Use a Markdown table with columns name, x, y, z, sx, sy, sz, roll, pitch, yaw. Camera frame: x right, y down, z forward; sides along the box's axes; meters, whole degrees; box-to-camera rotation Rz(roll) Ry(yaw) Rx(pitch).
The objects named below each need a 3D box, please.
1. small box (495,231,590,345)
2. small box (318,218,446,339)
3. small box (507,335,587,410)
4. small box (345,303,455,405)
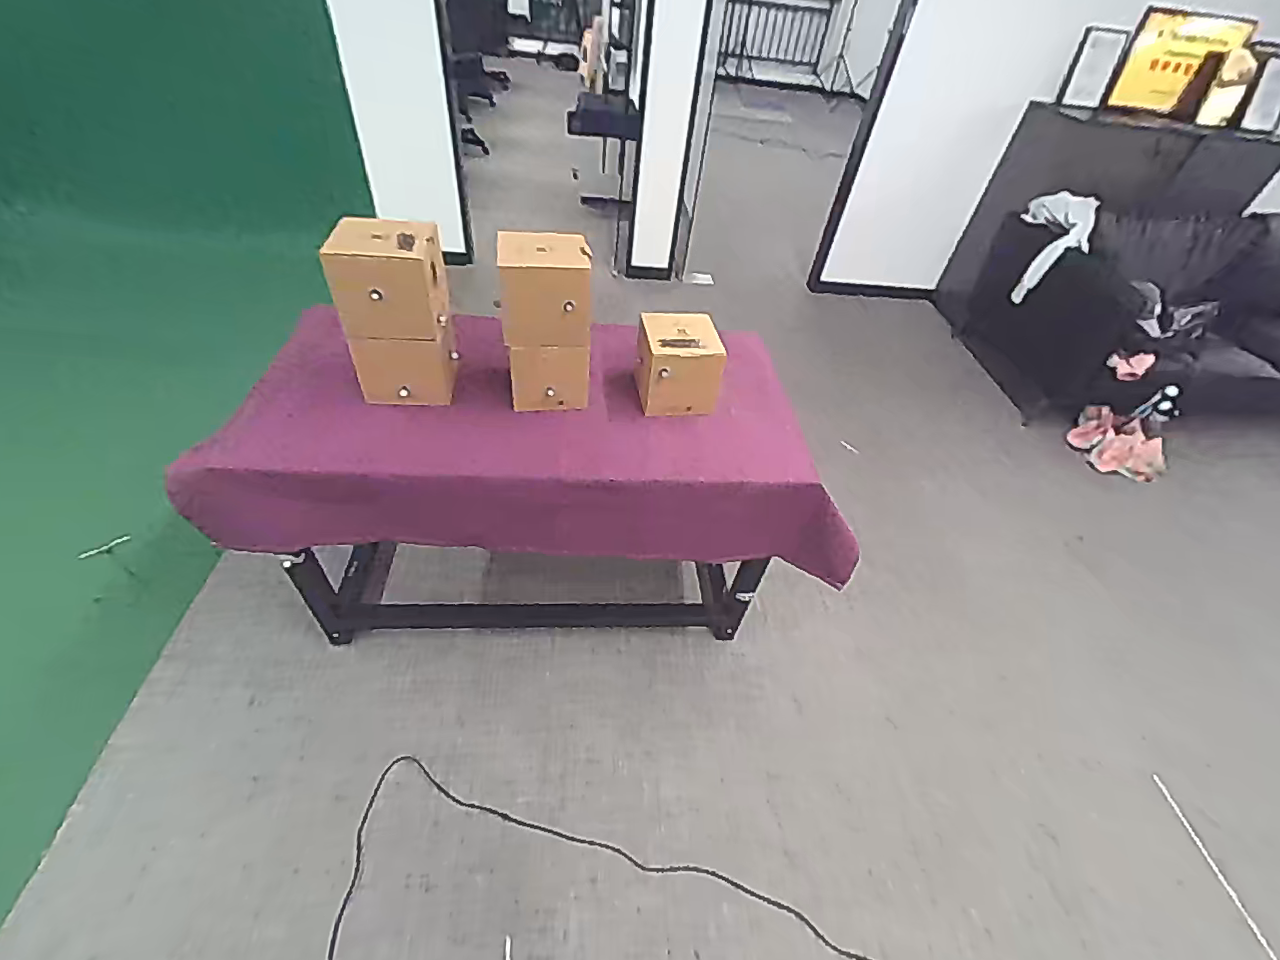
| name | x | y | z | sx | sy | sz | roll | pitch | yaw |
| --- | --- | --- | --- | --- | --- | --- | --- | --- | --- |
| small box | -0.199 | -0.388 | 1.106 | 0.179 | 0.176 | 0.168 | -3 | 46 | -10 |
| small box | -0.491 | -0.392 | 1.064 | 0.179 | 0.176 | 0.168 | 0 | 47 | -8 |
| small box | -0.214 | -0.277 | 1.225 | 0.168 | 0.176 | 0.179 | -4 | 48 | -12 |
| small box | -0.509 | -0.278 | 1.181 | 0.179 | 0.176 | 0.168 | 0 | 46 | -9 |
